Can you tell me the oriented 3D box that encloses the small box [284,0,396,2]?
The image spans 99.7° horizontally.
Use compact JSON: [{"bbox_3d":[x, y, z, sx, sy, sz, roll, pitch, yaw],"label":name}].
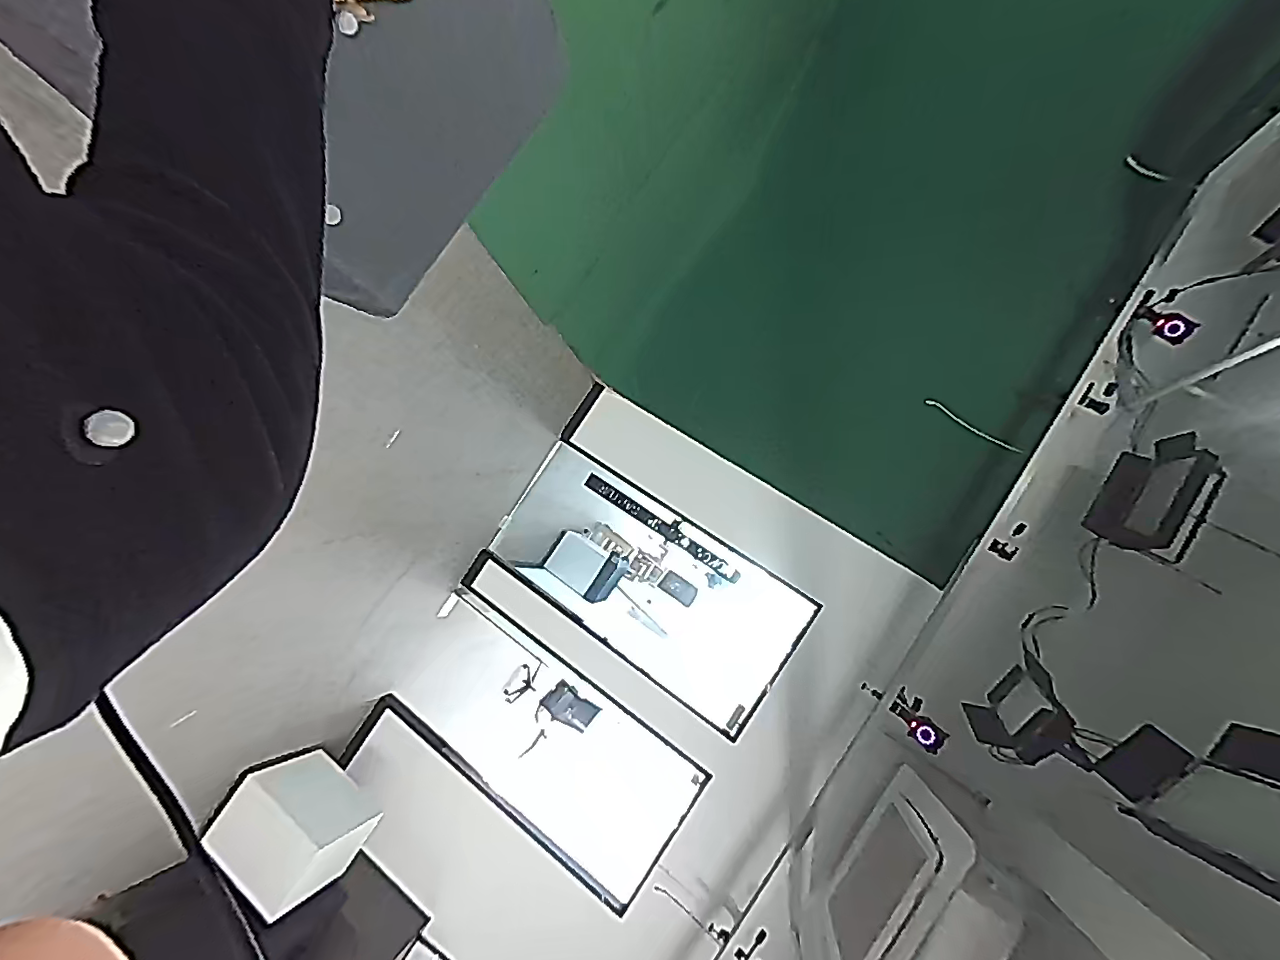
[{"bbox_3d":[-0.360,-0.617,0.537,0.168,0.176,0.179,-43,161,-37],"label":"small box"}]
